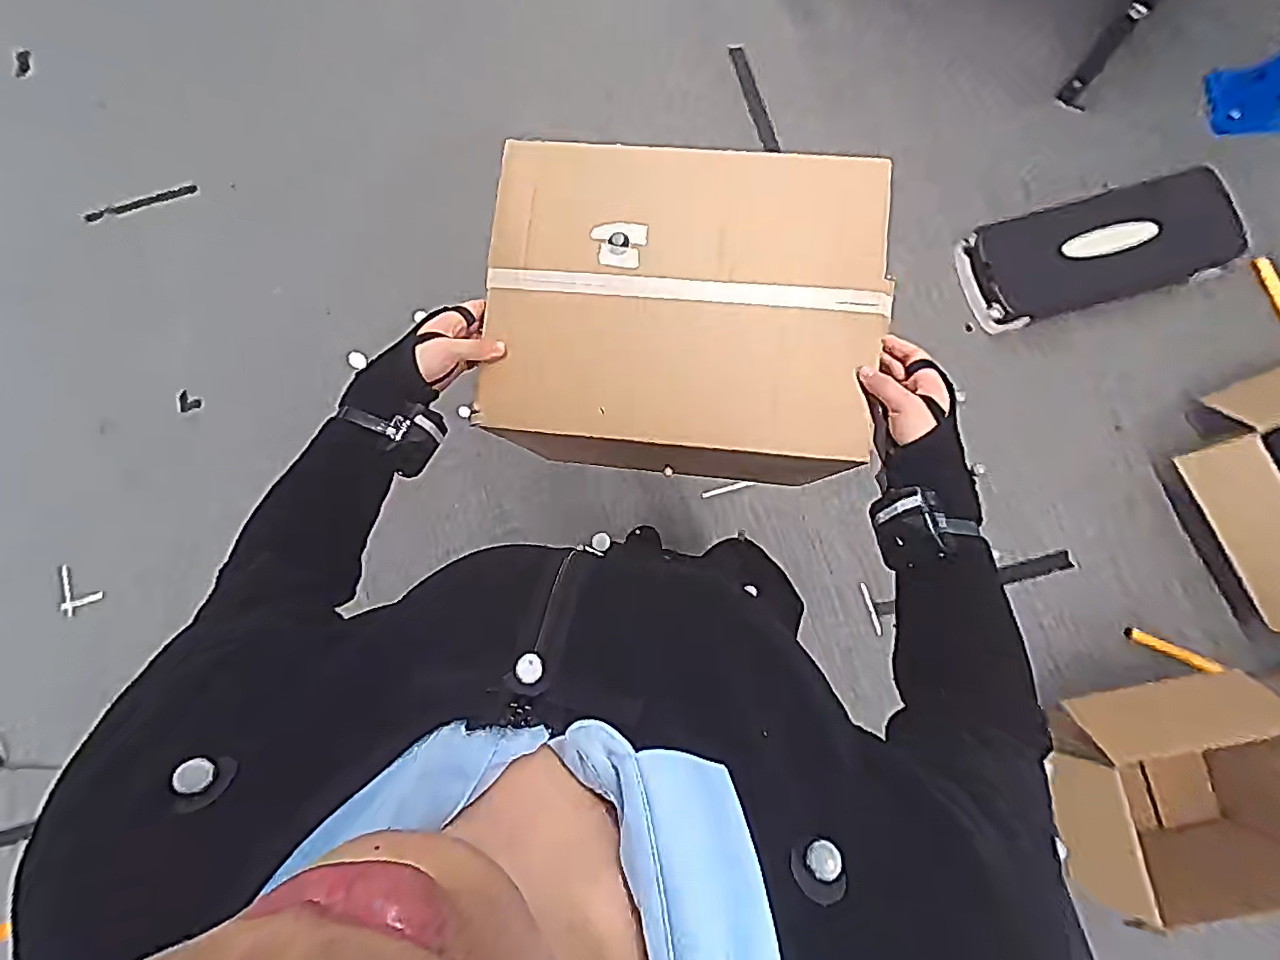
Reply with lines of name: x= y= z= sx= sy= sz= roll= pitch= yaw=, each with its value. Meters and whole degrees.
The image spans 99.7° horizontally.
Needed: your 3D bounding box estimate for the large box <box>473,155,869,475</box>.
large box: x=0.045 y=-0.181 z=0.712 sx=0.408 sy=0.320 sz=0.320 roll=5 pitch=84 yaw=6
